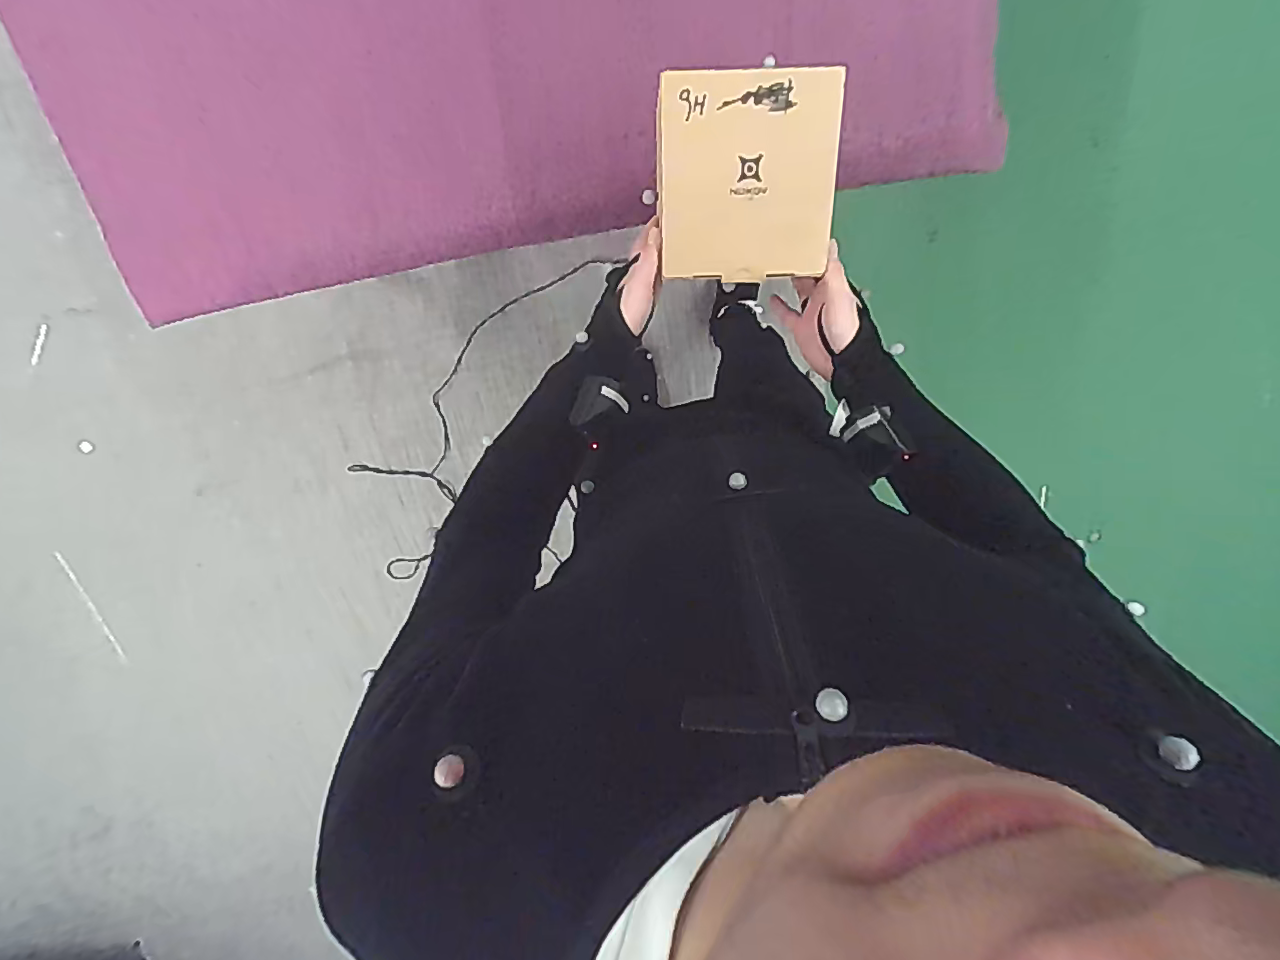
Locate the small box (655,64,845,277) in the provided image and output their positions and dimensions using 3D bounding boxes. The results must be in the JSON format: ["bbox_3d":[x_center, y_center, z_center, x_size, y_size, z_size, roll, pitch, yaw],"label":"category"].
[{"bbox_3d":[0.102,-0.318,0.584,0.168,0.176,0.179,-1,113,0],"label":"small box"}]
